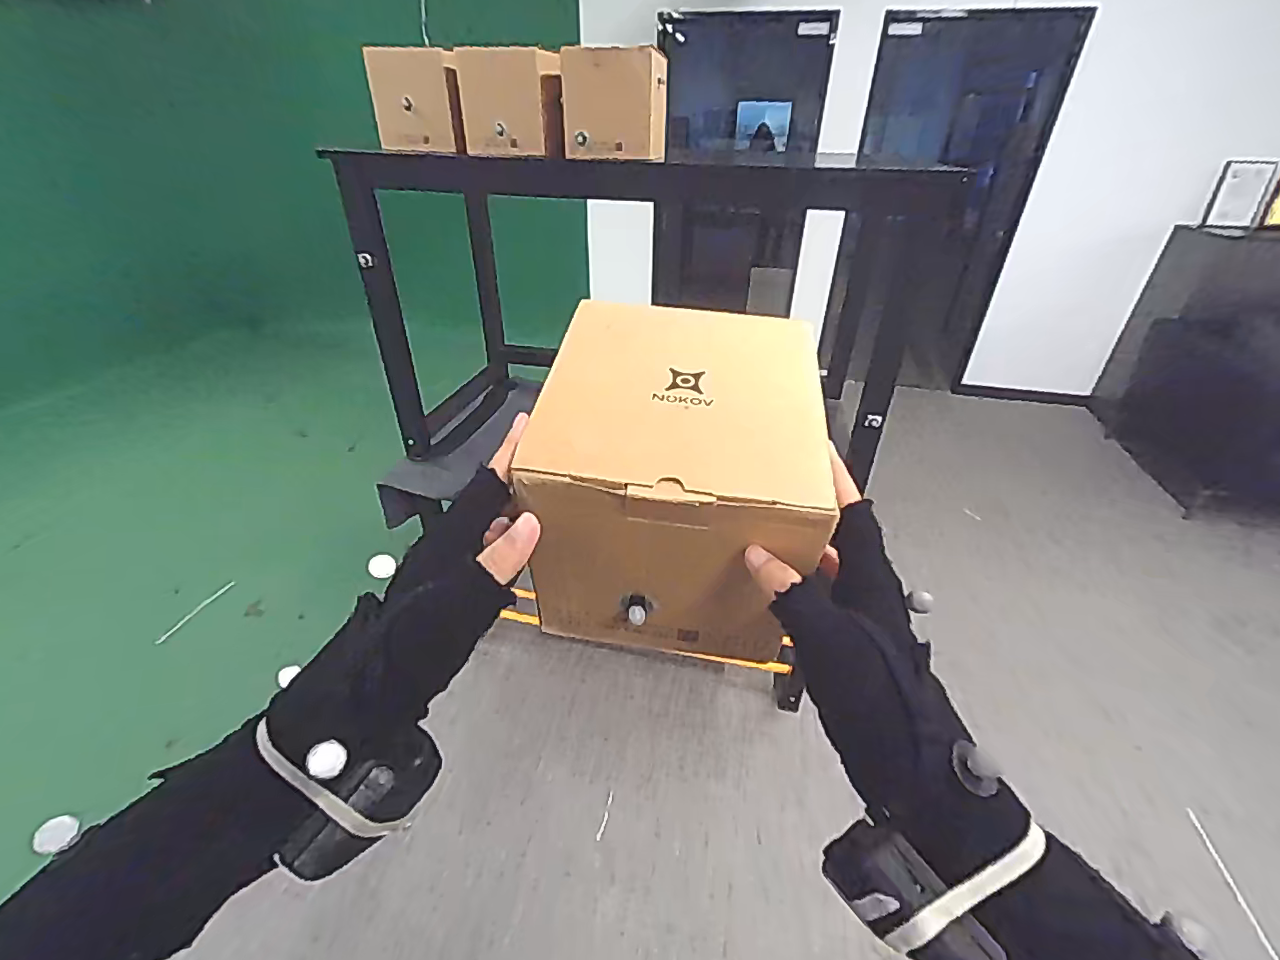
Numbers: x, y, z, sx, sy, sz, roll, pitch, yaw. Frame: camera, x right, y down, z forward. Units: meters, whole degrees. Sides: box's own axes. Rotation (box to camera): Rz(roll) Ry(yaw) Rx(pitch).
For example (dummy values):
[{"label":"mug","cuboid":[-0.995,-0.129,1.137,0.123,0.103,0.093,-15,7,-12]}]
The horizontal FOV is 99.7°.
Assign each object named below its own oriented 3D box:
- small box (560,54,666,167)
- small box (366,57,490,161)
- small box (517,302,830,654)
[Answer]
[{"label":"small box","cuboid":[-0.044,-0.704,1.041,0.168,0.176,0.179,7,32,9]},{"label":"small box","cuboid":[-0.428,-0.768,1.128,0.168,0.176,0.179,9,33,10]},{"label":"small box","cuboid":[0.023,-0.002,0.389,0.168,0.176,0.179,7,47,4]}]
